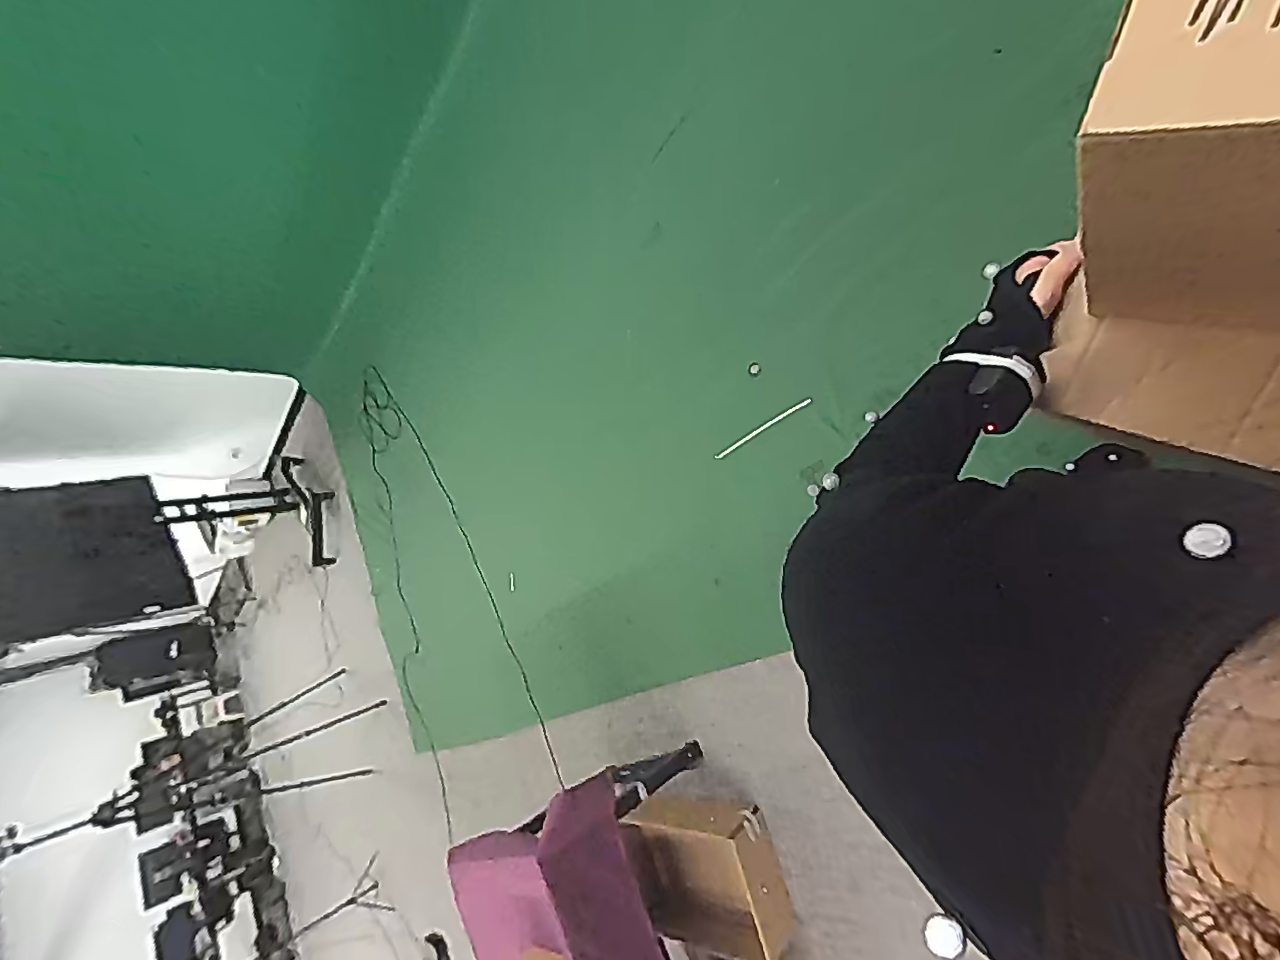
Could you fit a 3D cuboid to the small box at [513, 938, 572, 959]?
[{"bbox_3d":[-0.263,1.320,1.379,0.179,0.176,0.168,-34,73,41],"label":"small box"}]
